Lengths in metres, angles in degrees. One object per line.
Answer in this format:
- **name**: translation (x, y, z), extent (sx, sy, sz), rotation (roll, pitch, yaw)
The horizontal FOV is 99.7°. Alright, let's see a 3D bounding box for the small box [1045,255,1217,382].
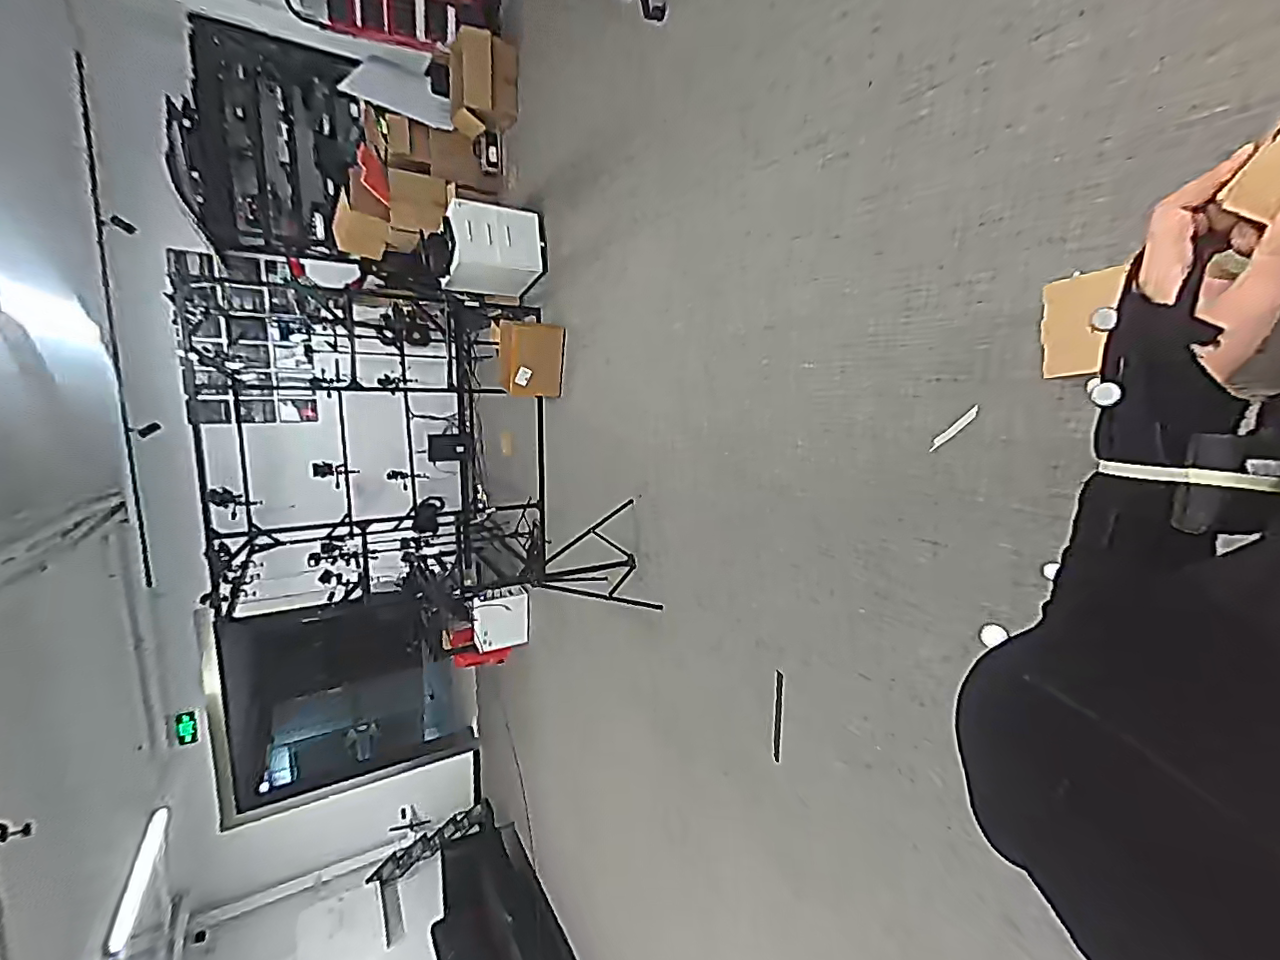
- **small box**: translation (0.815, -0.257, 0.899), extent (0.179, 0.176, 0.168), rotation (2, 95, 61)
